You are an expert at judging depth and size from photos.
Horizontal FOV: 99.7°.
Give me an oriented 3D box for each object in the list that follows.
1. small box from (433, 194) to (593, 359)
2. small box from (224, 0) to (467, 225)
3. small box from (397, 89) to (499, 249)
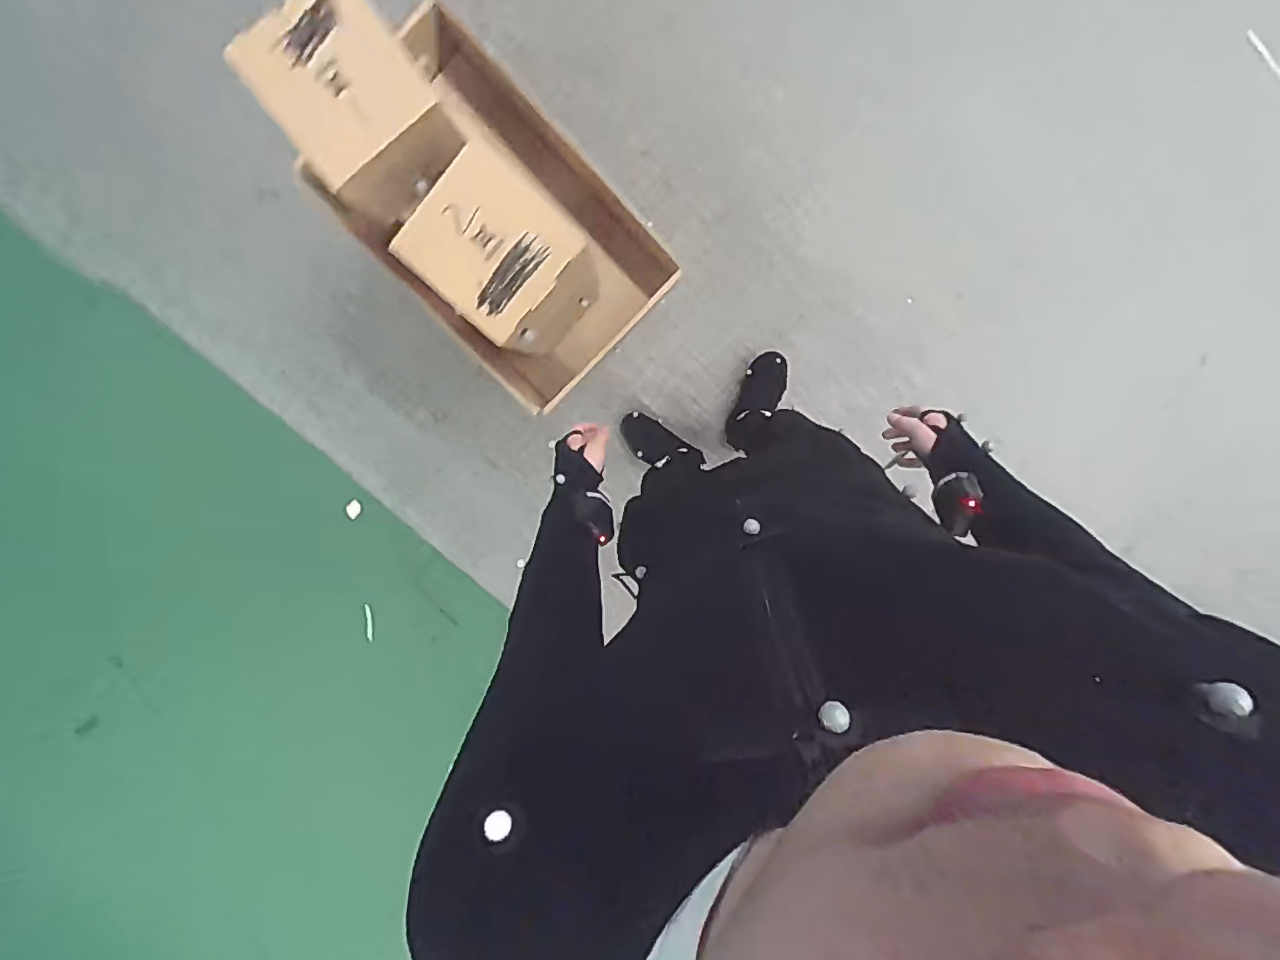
[{"bbox_3d":[-0.192,-0.317,0.881,0.179,0.176,0.168,42,97,-7],"label":"small box"},{"bbox_3d":[-0.354,-0.462,0.689,0.168,0.176,0.179,-36,102,6],"label":"small box"},{"bbox_3d":[-0.352,-0.495,0.850,0.179,0.176,0.168,43,97,-10],"label":"small box"}]
